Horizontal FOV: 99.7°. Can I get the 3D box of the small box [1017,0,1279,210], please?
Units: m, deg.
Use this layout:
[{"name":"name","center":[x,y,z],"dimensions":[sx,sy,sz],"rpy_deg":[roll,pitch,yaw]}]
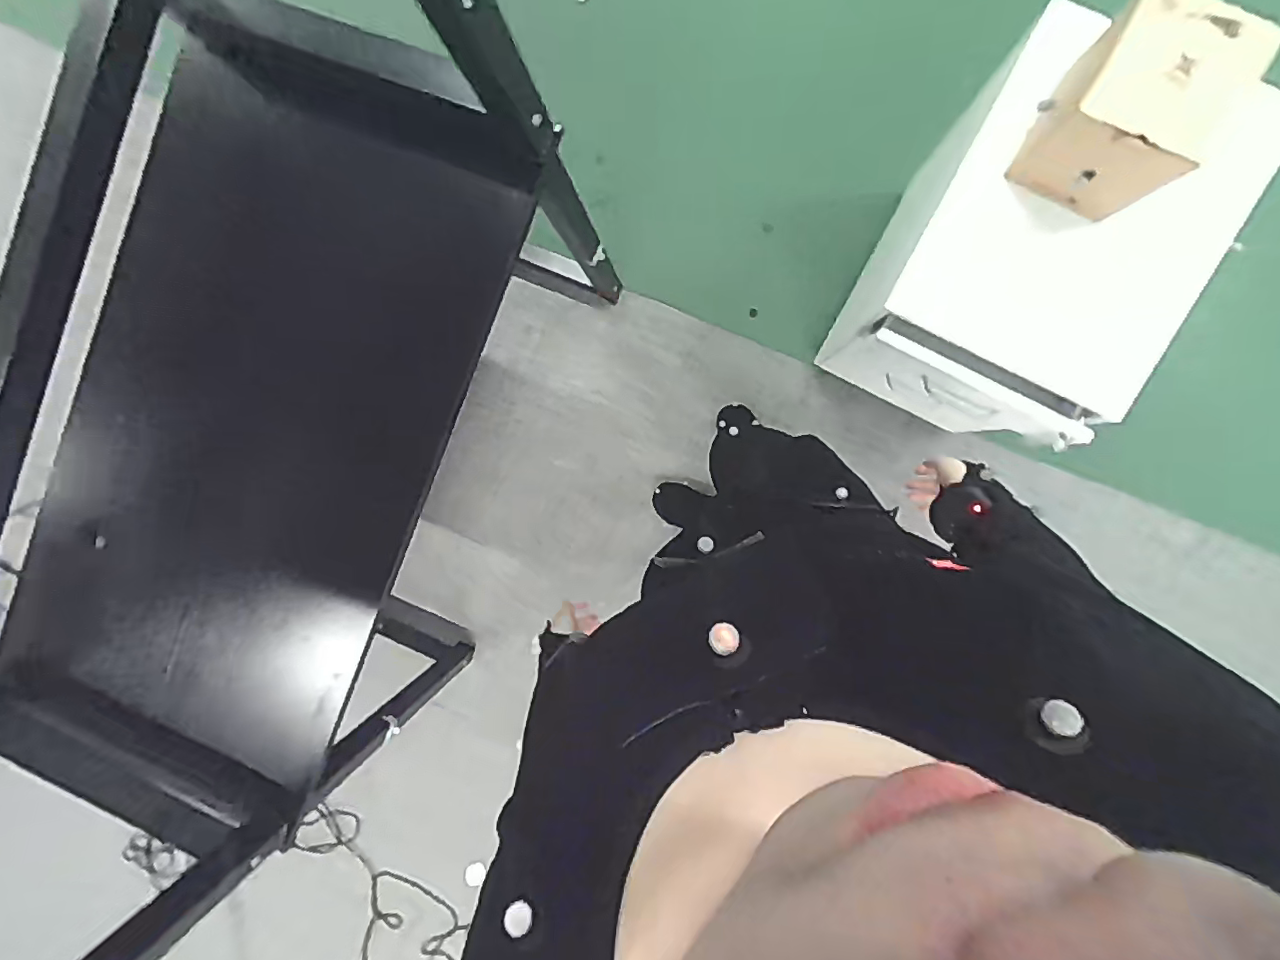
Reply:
[{"name":"small box","center":[0.648,-0.496,0.714],"dimensions":[0.168,0.176,0.179],"rpy_deg":[28,97,4]}]
